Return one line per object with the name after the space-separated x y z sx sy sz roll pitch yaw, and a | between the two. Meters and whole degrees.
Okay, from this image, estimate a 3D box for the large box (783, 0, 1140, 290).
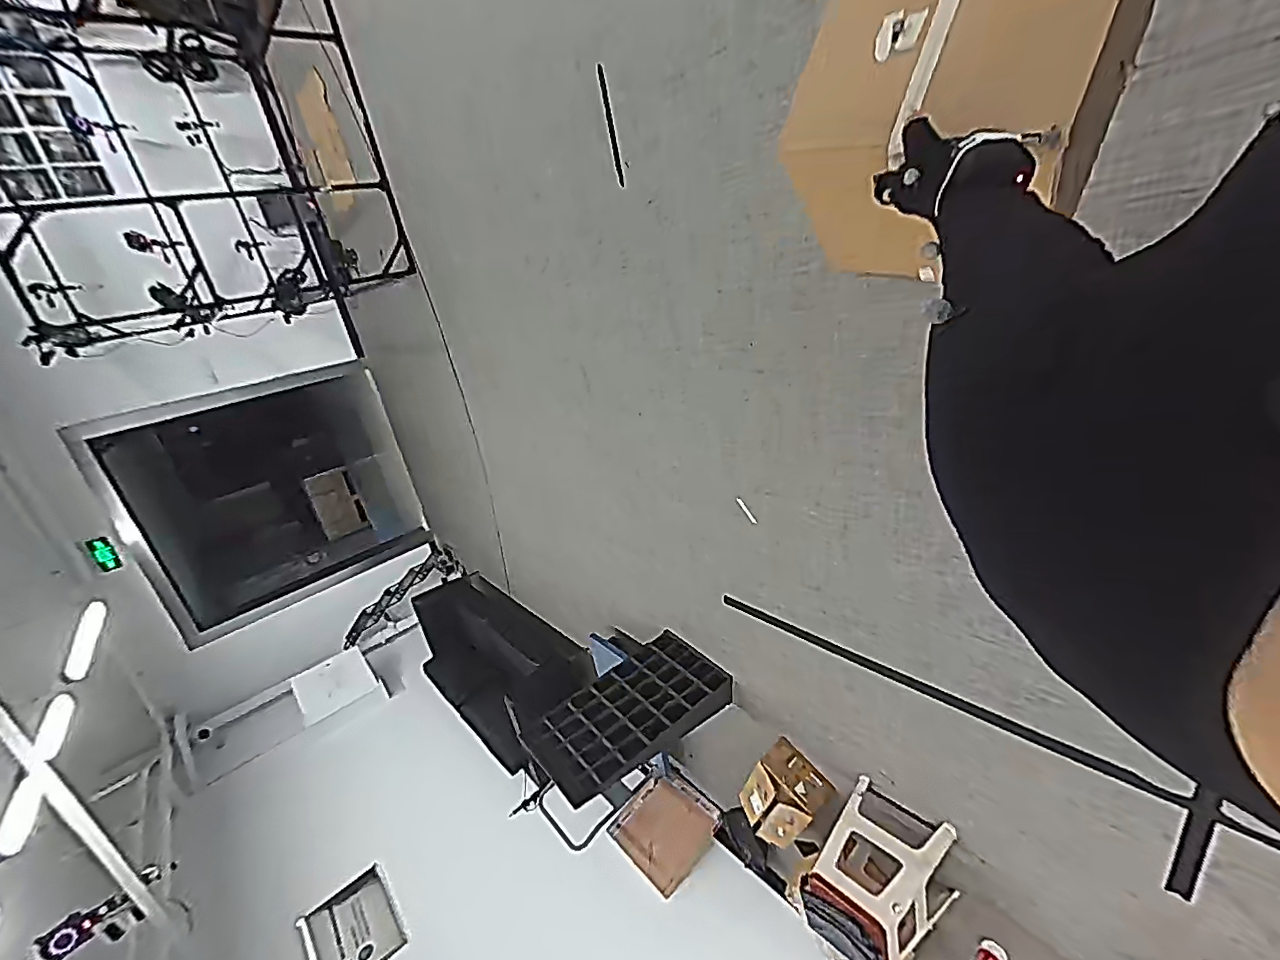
0.449 -0.530 0.743 0.320 0.320 0.408 21 91 37 | large box
